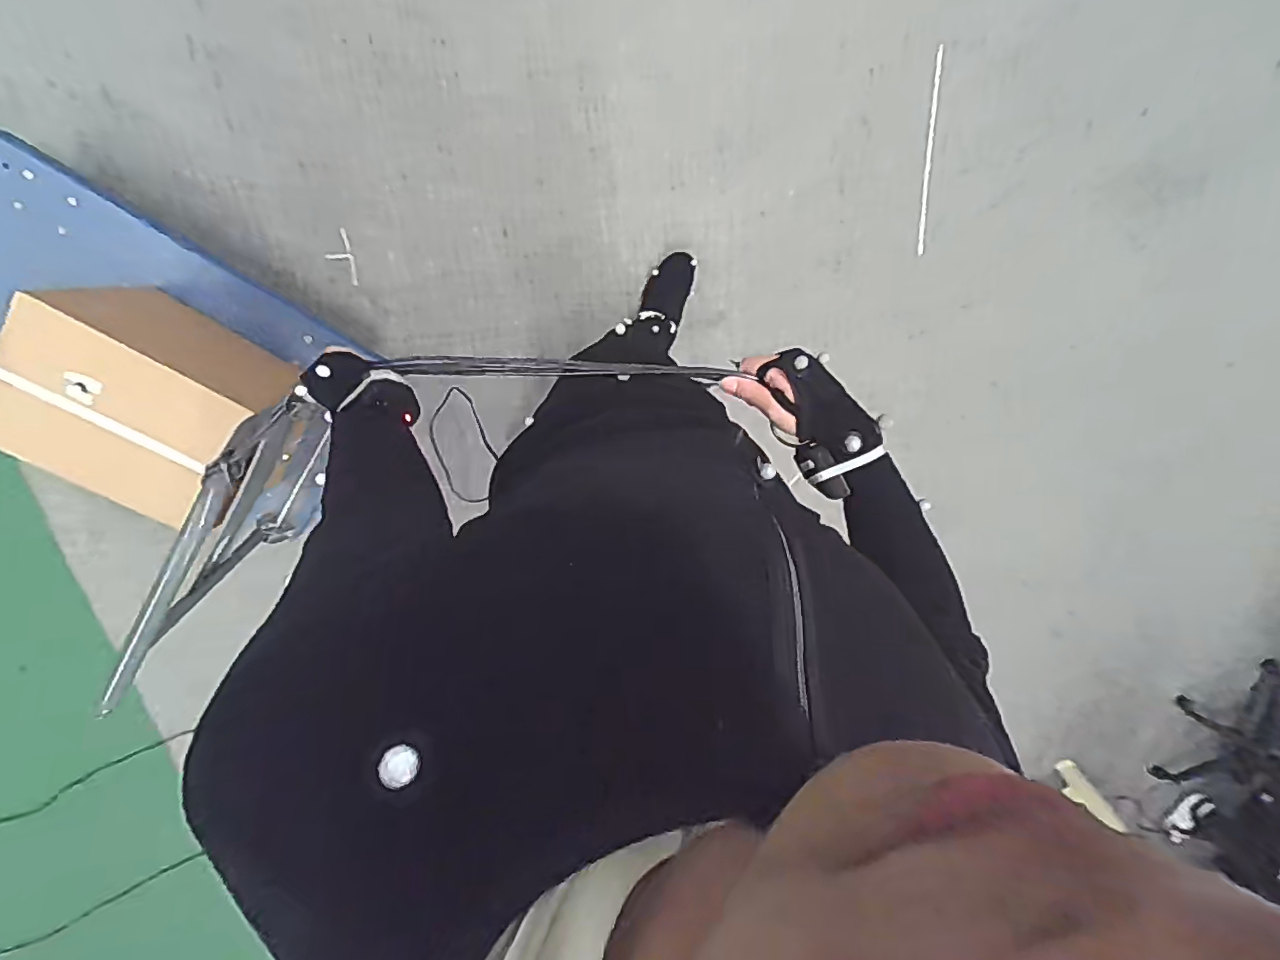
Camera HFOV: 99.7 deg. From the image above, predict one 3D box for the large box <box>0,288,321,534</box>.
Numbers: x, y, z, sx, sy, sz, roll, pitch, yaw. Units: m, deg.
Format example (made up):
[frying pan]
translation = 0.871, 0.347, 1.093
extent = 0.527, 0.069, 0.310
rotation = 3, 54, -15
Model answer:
[large box]
translation = -0.987, -0.155, 1.139
extent = 0.408, 0.320, 0.320
rotation = 32, 104, -16
